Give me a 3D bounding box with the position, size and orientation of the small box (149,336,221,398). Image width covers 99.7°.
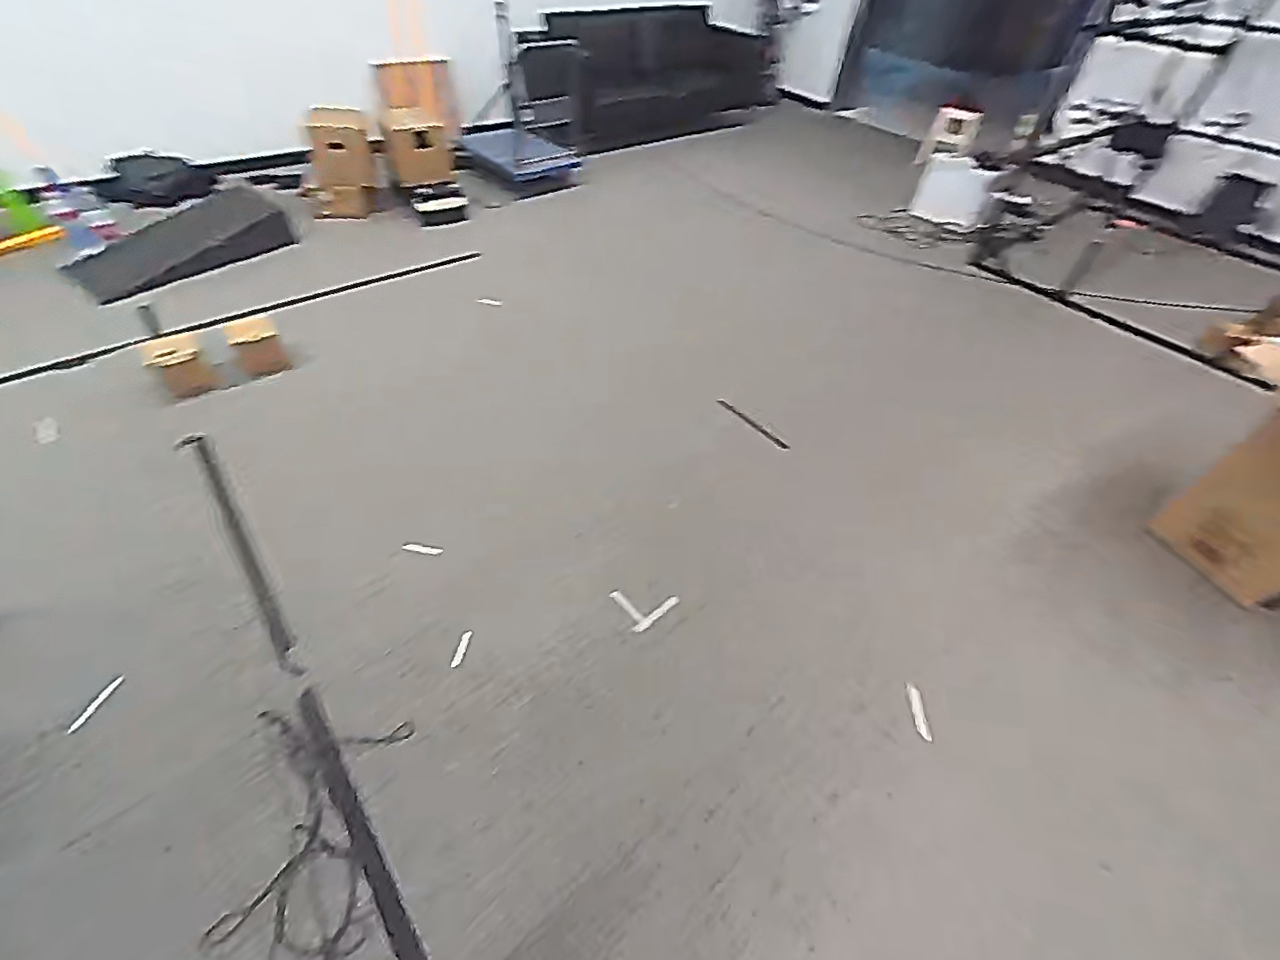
[{"bbox_3d":[-1.844,-0.453,2.198,0.168,0.176,0.179,-26,54,-28],"label":"small box"}]

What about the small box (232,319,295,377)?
[{"bbox_3d":[-1.620,-0.563,2.330,0.168,0.176,0.179,-23,53,-26],"label":"small box"}]
